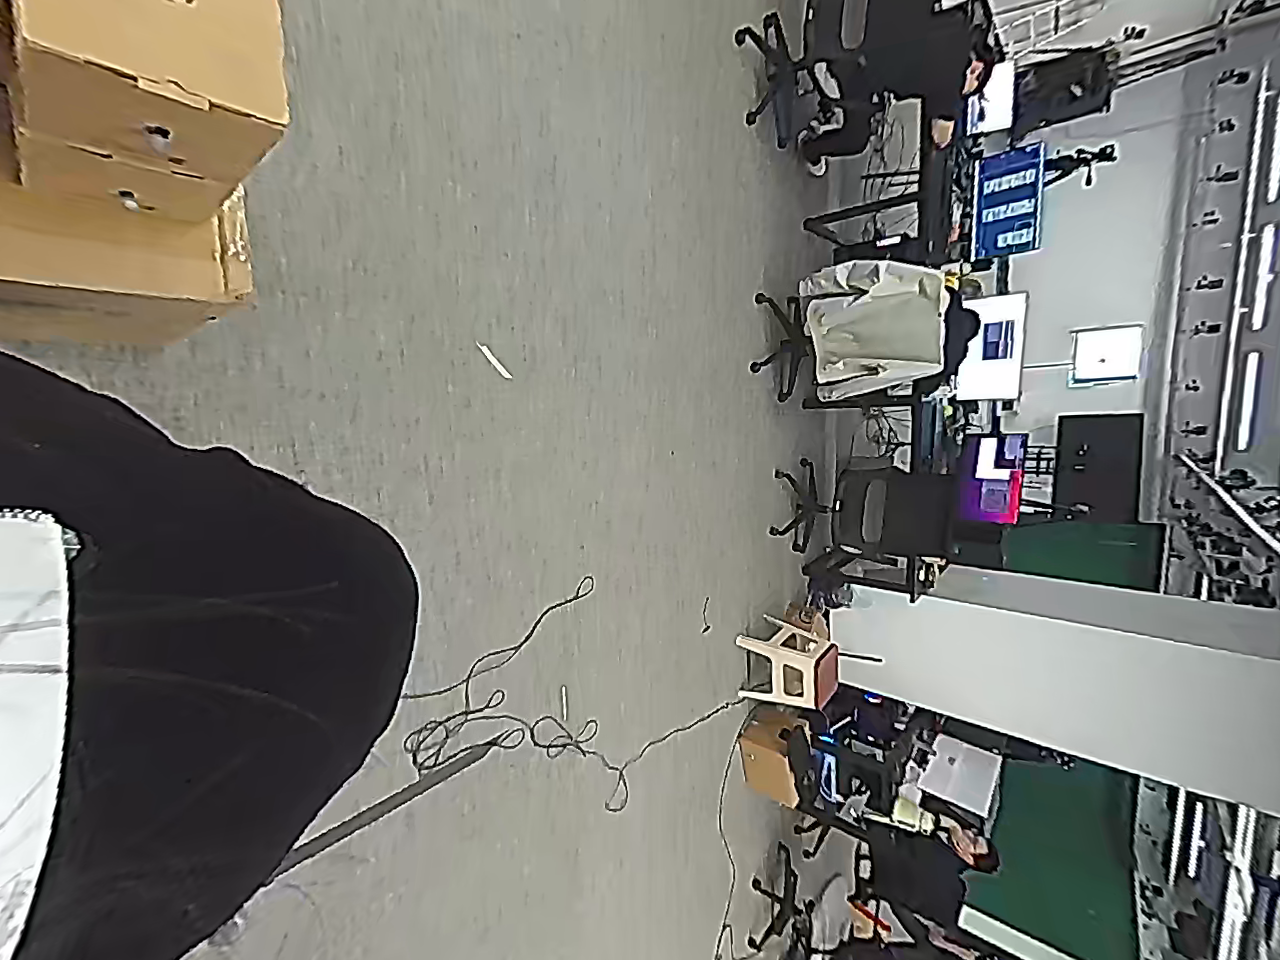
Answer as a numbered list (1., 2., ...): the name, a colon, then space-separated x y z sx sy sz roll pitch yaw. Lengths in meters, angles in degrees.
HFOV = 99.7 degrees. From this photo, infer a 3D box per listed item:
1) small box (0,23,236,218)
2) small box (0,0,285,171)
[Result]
1. small box: -0.569 -0.413 0.588 0.168 0.176 0.179 -10 102 -47
2. small box: -0.442 -0.408 0.482 0.168 0.176 0.179 -9 101 -50
